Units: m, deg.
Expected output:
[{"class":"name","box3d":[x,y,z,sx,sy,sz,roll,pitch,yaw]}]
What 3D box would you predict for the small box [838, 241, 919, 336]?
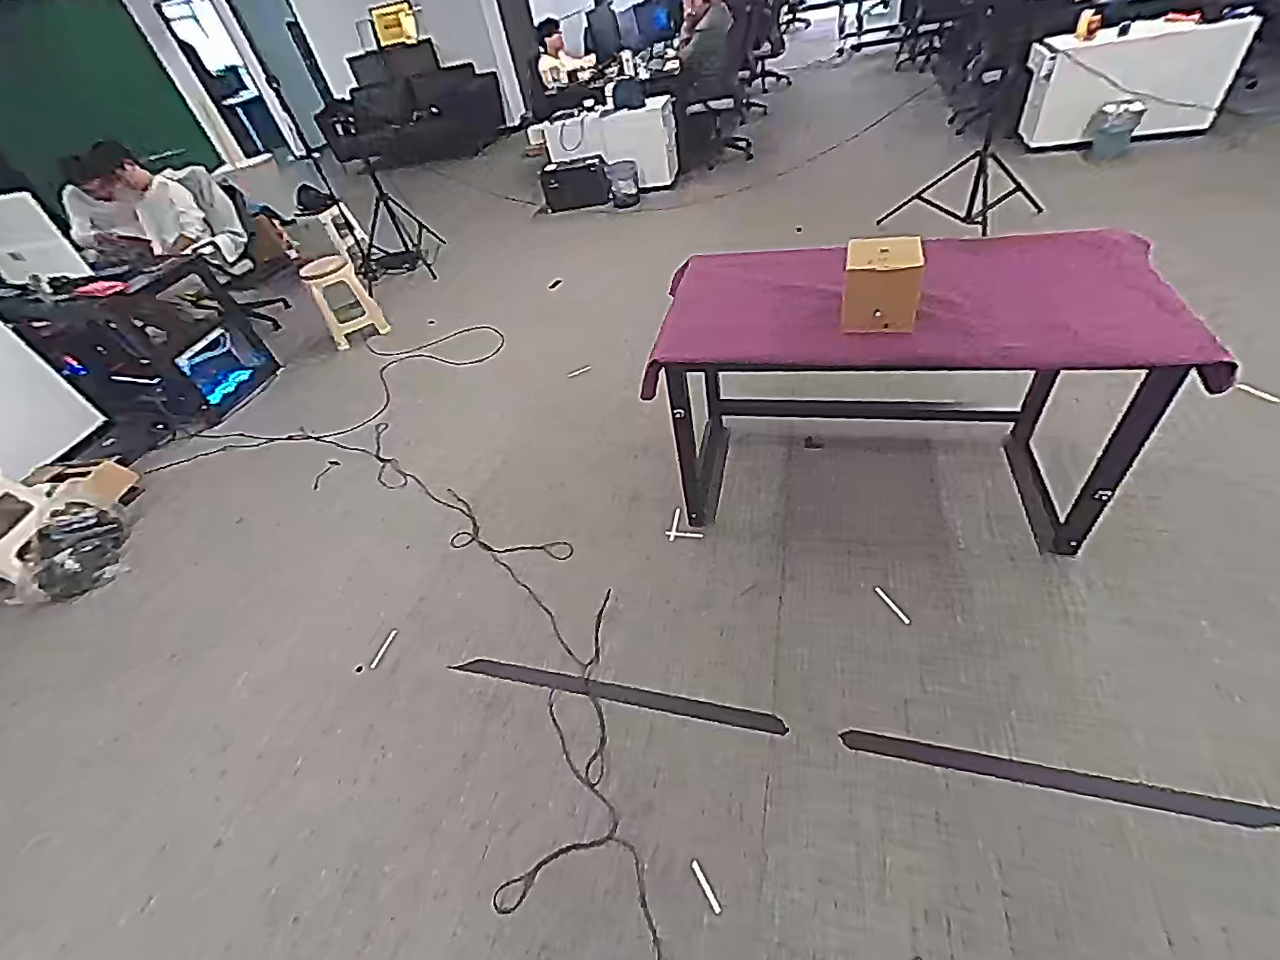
[{"class":"small box","box3d":[0.590,-0.480,1.354,0.168,0.176,0.179,5,46,19]}]
